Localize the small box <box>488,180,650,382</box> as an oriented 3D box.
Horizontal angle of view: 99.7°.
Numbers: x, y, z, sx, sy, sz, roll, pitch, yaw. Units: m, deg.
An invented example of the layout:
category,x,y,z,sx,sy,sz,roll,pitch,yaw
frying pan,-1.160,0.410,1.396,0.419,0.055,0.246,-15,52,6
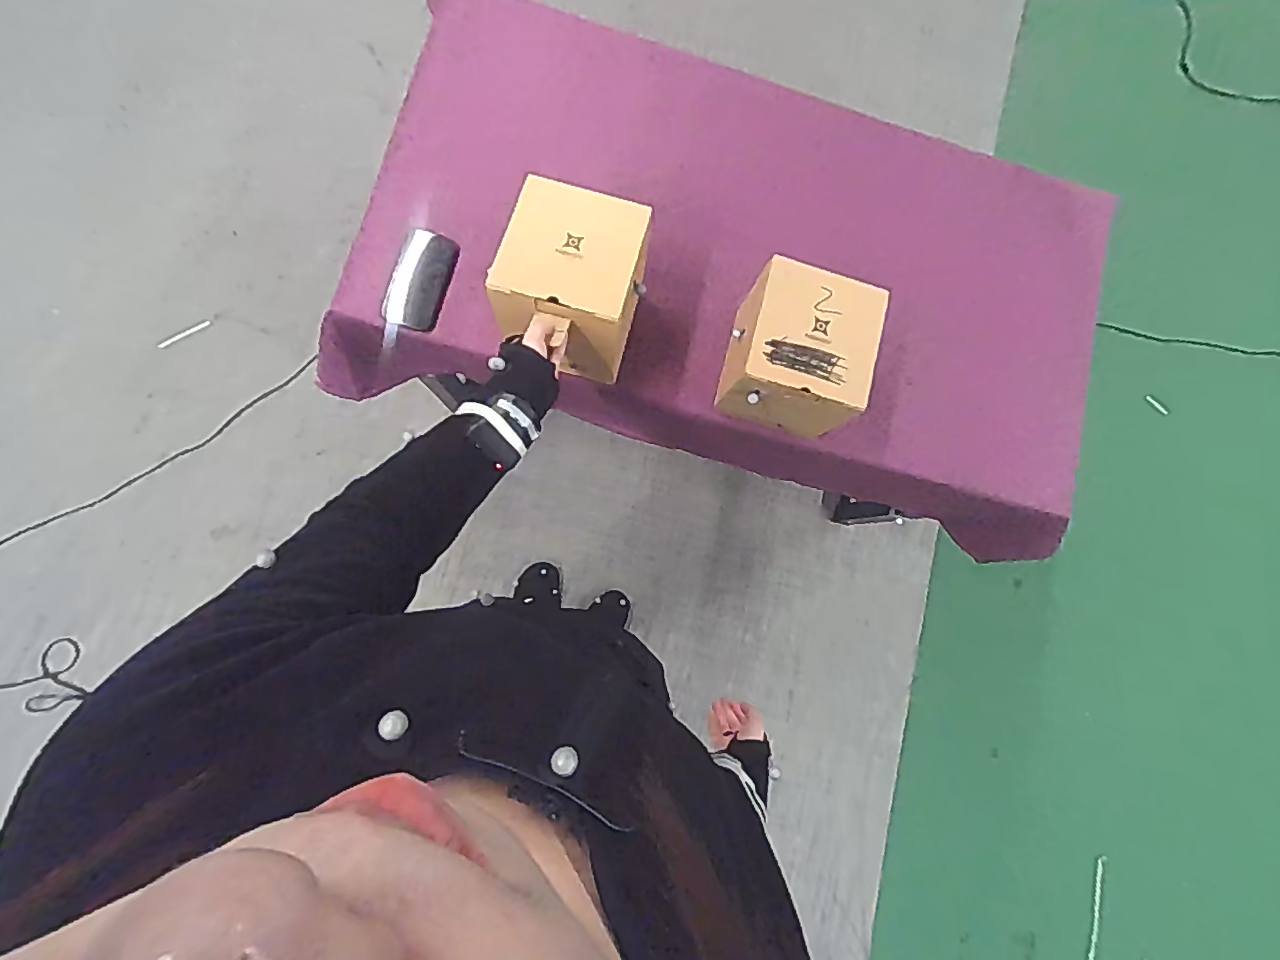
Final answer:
category,x,y,z,sx,sy,sz,roll,pitch,yaw
small box,-0.095,-0.265,0.750,0.168,0.176,0.179,15,74,-2
